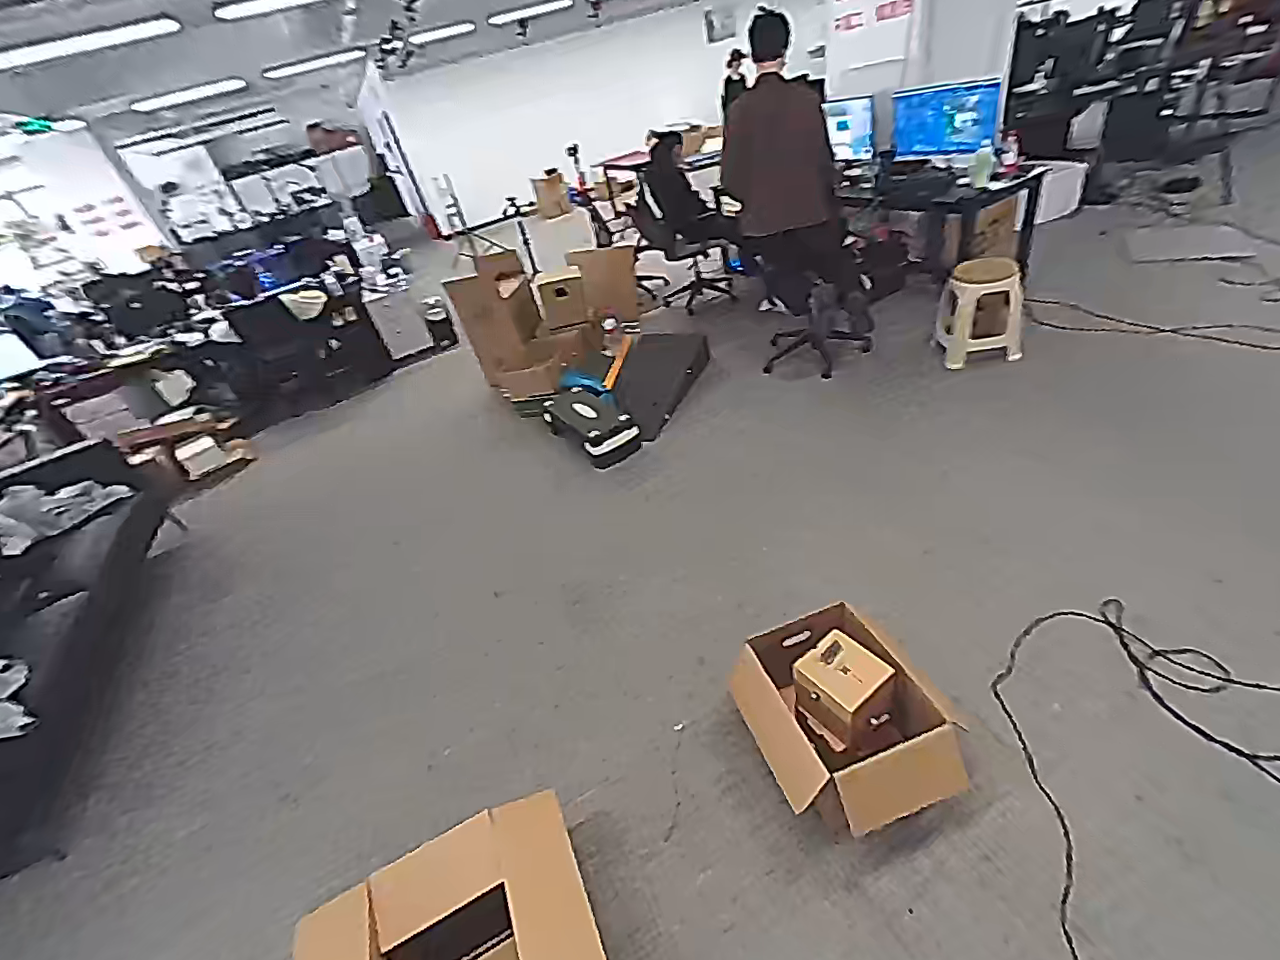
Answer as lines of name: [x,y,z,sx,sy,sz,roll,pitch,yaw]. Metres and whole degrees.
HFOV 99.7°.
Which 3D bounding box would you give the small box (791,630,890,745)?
small box: [0.508,0.528,1.377,0.168,0.176,0.179,-30,37,-18]
